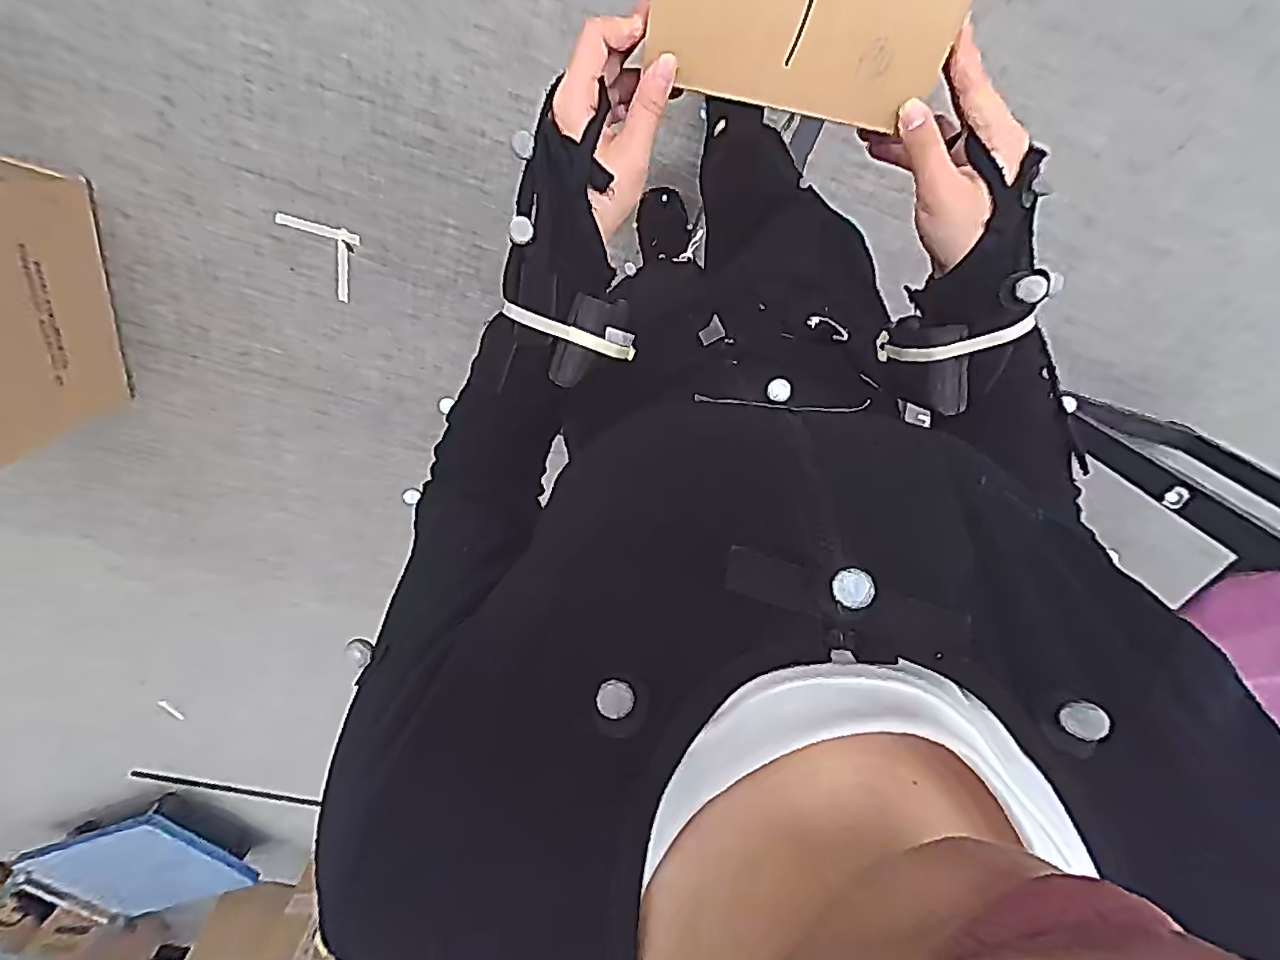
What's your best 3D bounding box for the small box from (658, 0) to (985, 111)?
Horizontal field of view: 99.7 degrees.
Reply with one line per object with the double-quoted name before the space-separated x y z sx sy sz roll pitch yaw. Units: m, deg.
"small box" 0.104 -0.341 0.297 0.168 0.176 0.179 8 136 -6
